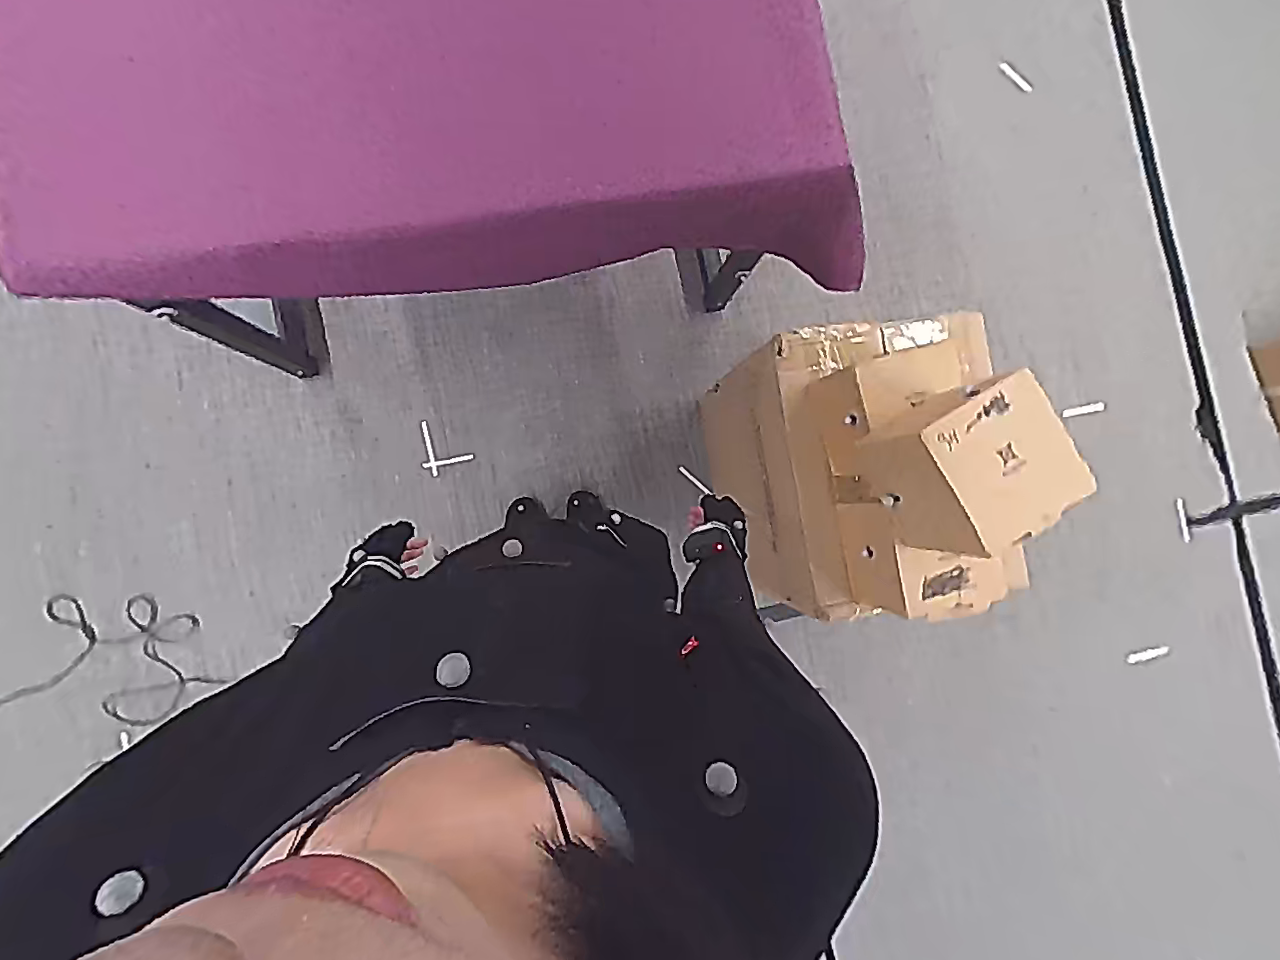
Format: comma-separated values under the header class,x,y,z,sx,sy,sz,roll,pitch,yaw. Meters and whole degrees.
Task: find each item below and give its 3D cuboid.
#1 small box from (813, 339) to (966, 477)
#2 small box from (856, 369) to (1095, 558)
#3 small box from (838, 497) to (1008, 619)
class,x,y,z,sx,sy,sz,roll,pitch,yaw
small box,0.406,-0.109,0.886,0.168,0.176,0.179,-15,91,-6
small box,0.429,-0.019,0.719,0.168,0.176,0.179,-30,91,-7
small box,0.446,0.111,0.878,0.168,0.176,0.179,-10,86,-6
